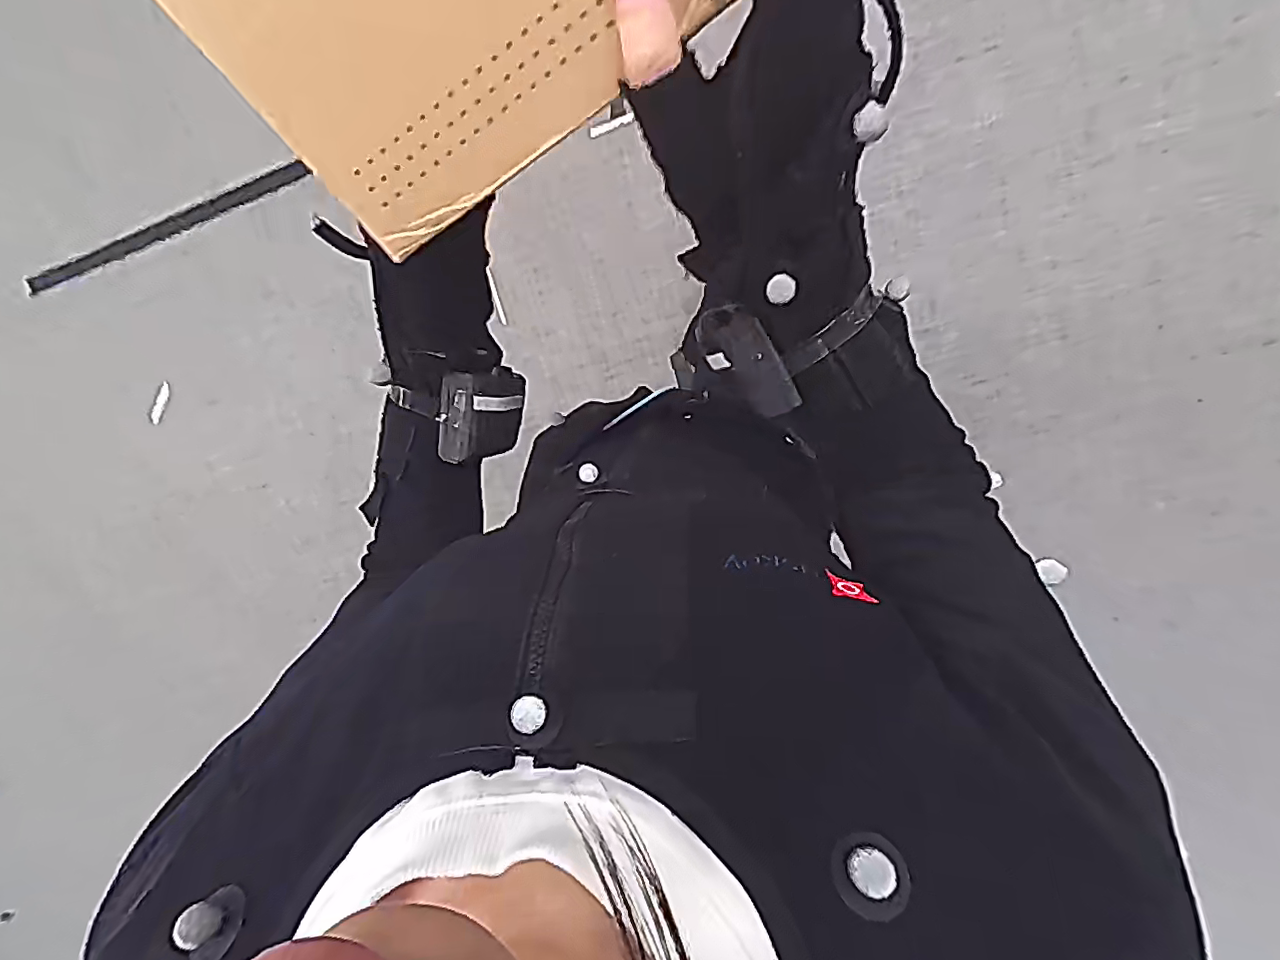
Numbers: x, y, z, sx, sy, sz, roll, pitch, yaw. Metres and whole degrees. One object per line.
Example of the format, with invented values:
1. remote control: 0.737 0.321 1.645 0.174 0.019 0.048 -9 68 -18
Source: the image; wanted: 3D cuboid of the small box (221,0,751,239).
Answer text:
1. small box: -0.072 -0.236 0.225 0.179 0.168 0.176 -26 130 17
